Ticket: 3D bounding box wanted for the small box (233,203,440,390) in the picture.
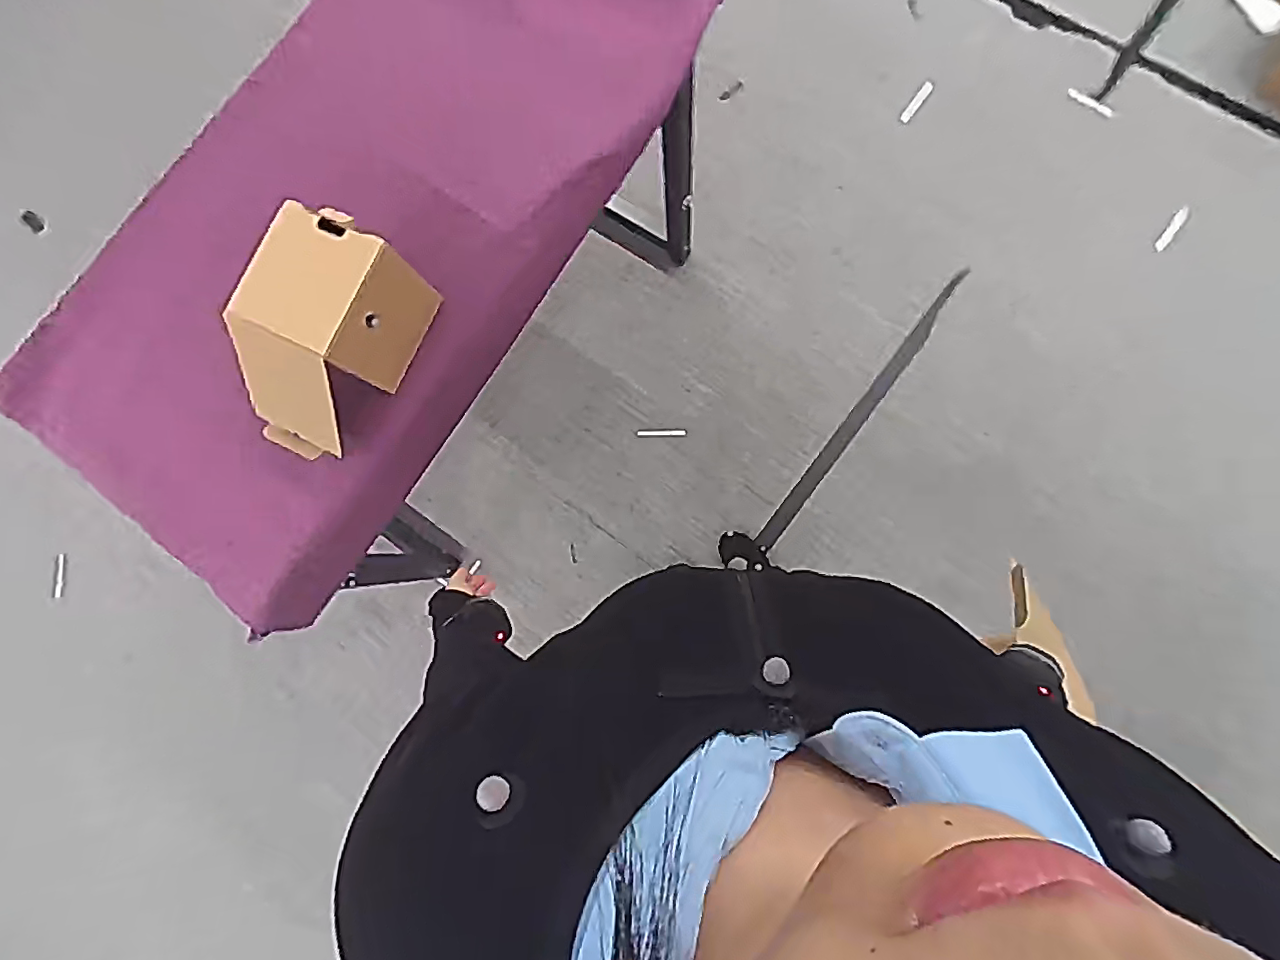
[{"bbox_3d":[-0.428,-0.255,0.794,0.168,0.176,0.179,25,86,8],"label":"small box"}]
